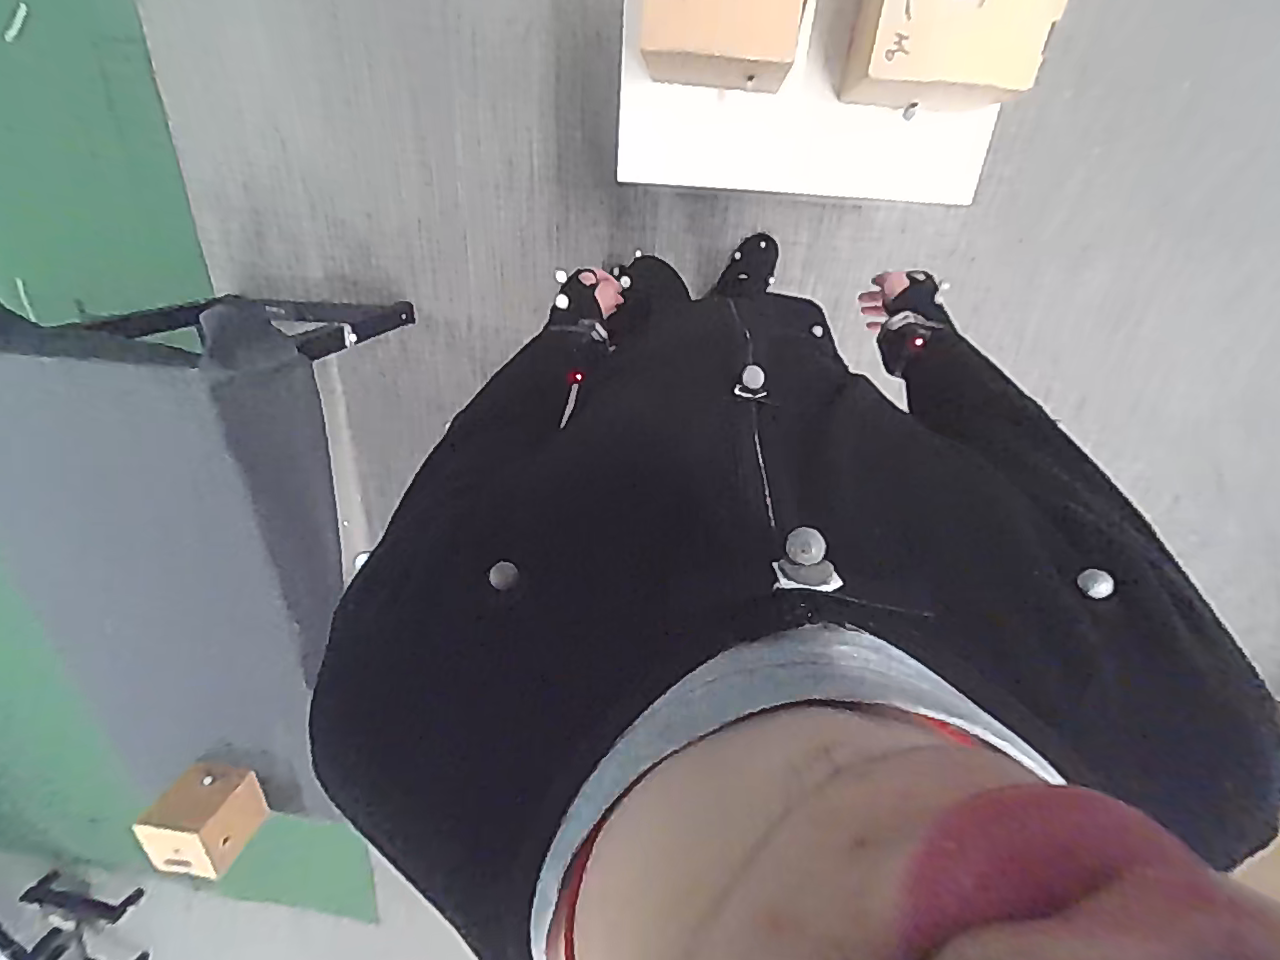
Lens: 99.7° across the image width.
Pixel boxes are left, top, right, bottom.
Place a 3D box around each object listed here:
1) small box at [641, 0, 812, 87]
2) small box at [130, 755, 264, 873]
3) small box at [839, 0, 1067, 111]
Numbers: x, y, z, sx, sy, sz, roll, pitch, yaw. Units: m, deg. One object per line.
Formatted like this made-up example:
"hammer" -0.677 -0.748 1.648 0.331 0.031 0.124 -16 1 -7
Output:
"small box" 0.102 -0.570 0.619 0.179 0.176 0.168 8 116 3
"small box" -1.068 0.814 1.323 0.168 0.176 0.179 5 117 4
"small box" 0.349 -0.531 0.609 0.179 0.176 0.168 8 118 2
